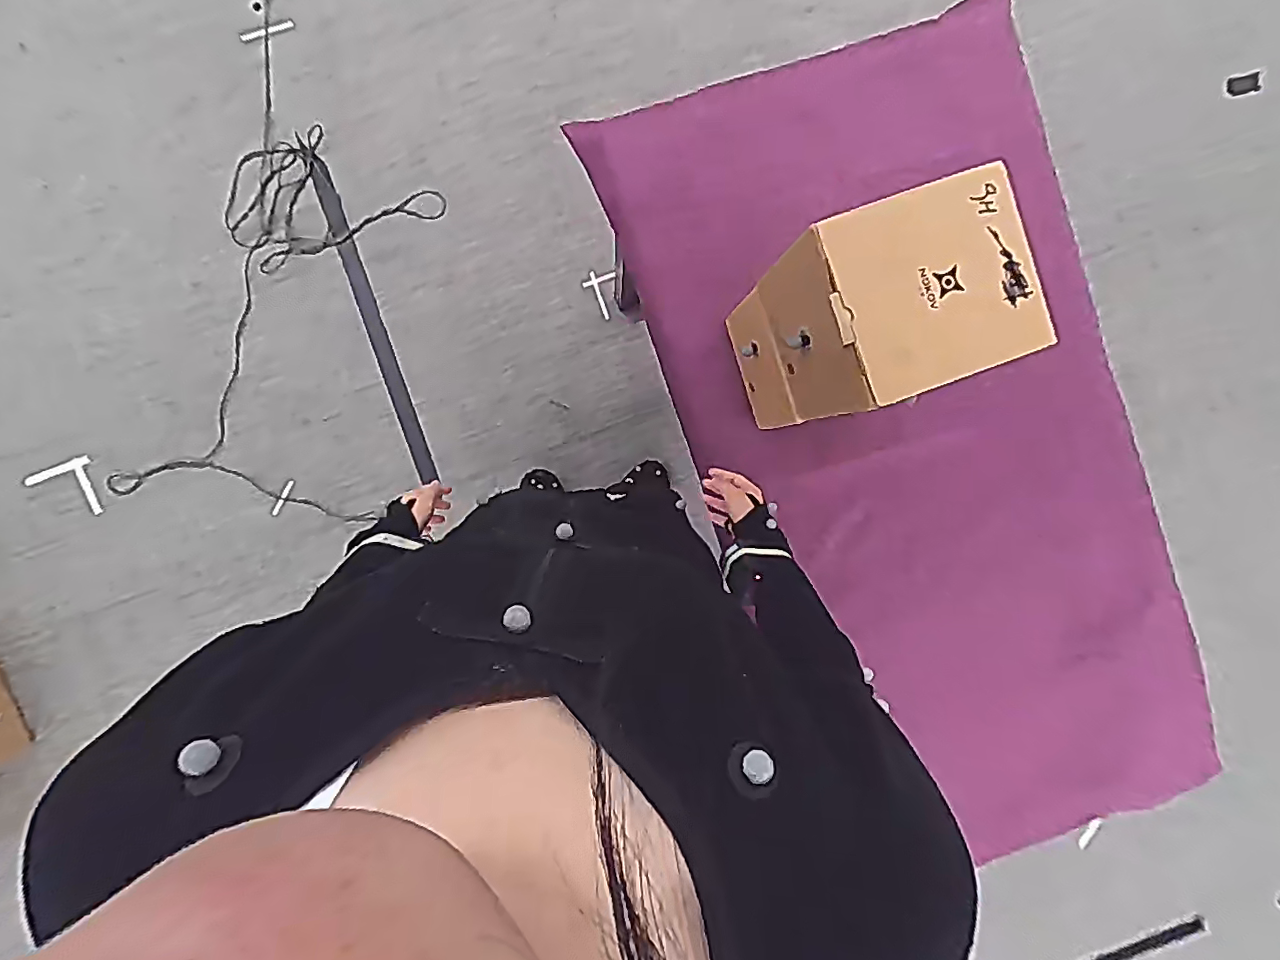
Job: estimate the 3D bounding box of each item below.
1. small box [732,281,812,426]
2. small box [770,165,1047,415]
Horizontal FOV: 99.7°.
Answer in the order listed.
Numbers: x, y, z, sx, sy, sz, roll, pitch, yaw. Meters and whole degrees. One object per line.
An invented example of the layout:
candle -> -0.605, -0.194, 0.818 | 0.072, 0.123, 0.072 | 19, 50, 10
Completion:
small box -> 0.232, -0.174, 0.710 | 0.179, 0.176, 0.168 | -18, 94, -3
small box -> 0.247, -0.171, 0.547 | 0.179, 0.176, 0.168 | -20, 94, -3
